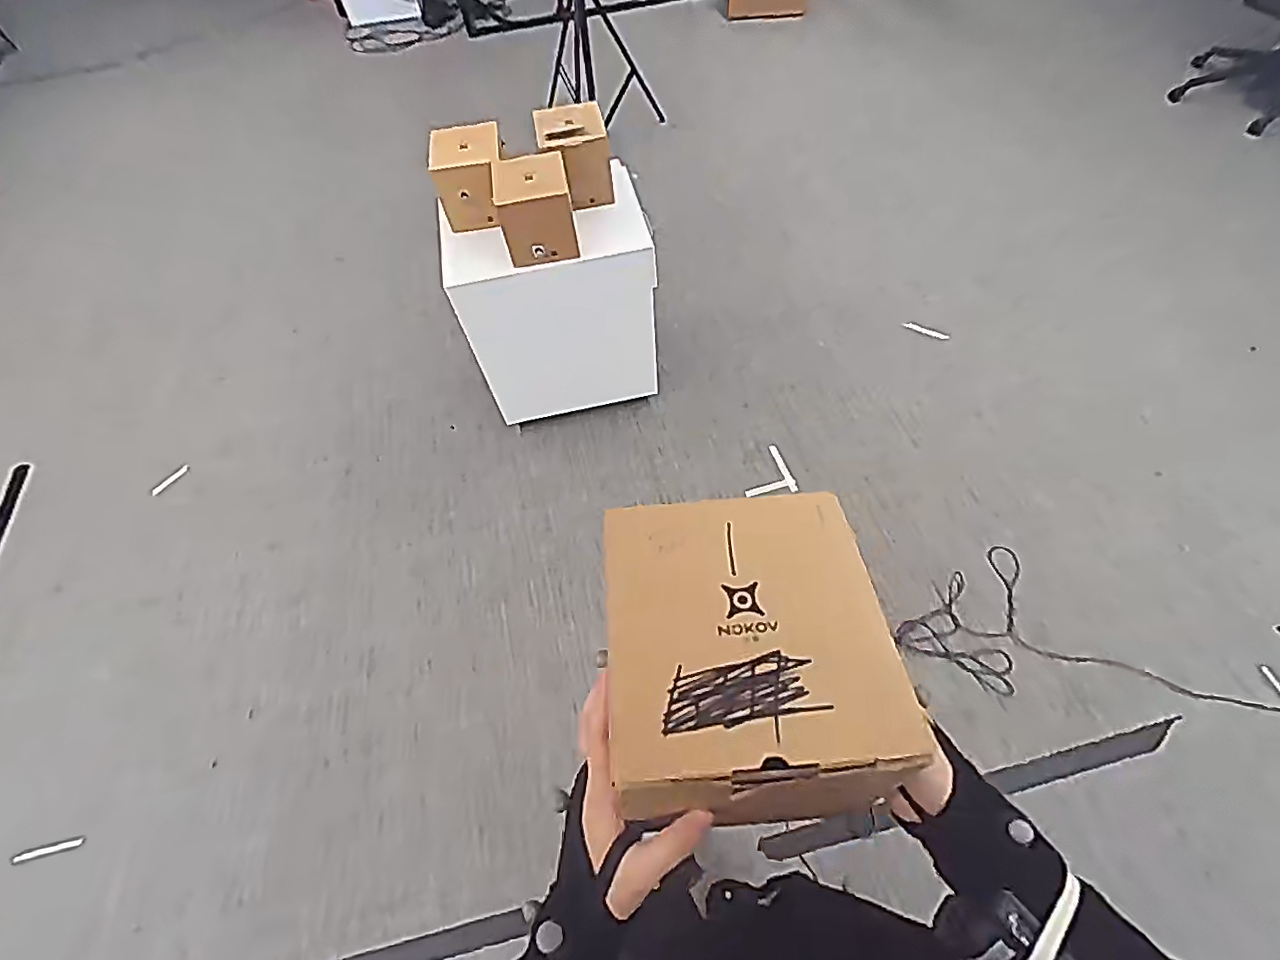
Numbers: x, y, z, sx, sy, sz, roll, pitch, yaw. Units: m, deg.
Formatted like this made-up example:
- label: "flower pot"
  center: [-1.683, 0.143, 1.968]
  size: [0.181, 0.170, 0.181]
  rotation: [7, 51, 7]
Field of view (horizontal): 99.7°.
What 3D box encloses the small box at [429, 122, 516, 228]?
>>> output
- label: "small box"
  center: [-0.412, -0.752, 1.351]
  size: [0.168, 0.176, 0.179]
  rotation: [-10, 60, -2]
